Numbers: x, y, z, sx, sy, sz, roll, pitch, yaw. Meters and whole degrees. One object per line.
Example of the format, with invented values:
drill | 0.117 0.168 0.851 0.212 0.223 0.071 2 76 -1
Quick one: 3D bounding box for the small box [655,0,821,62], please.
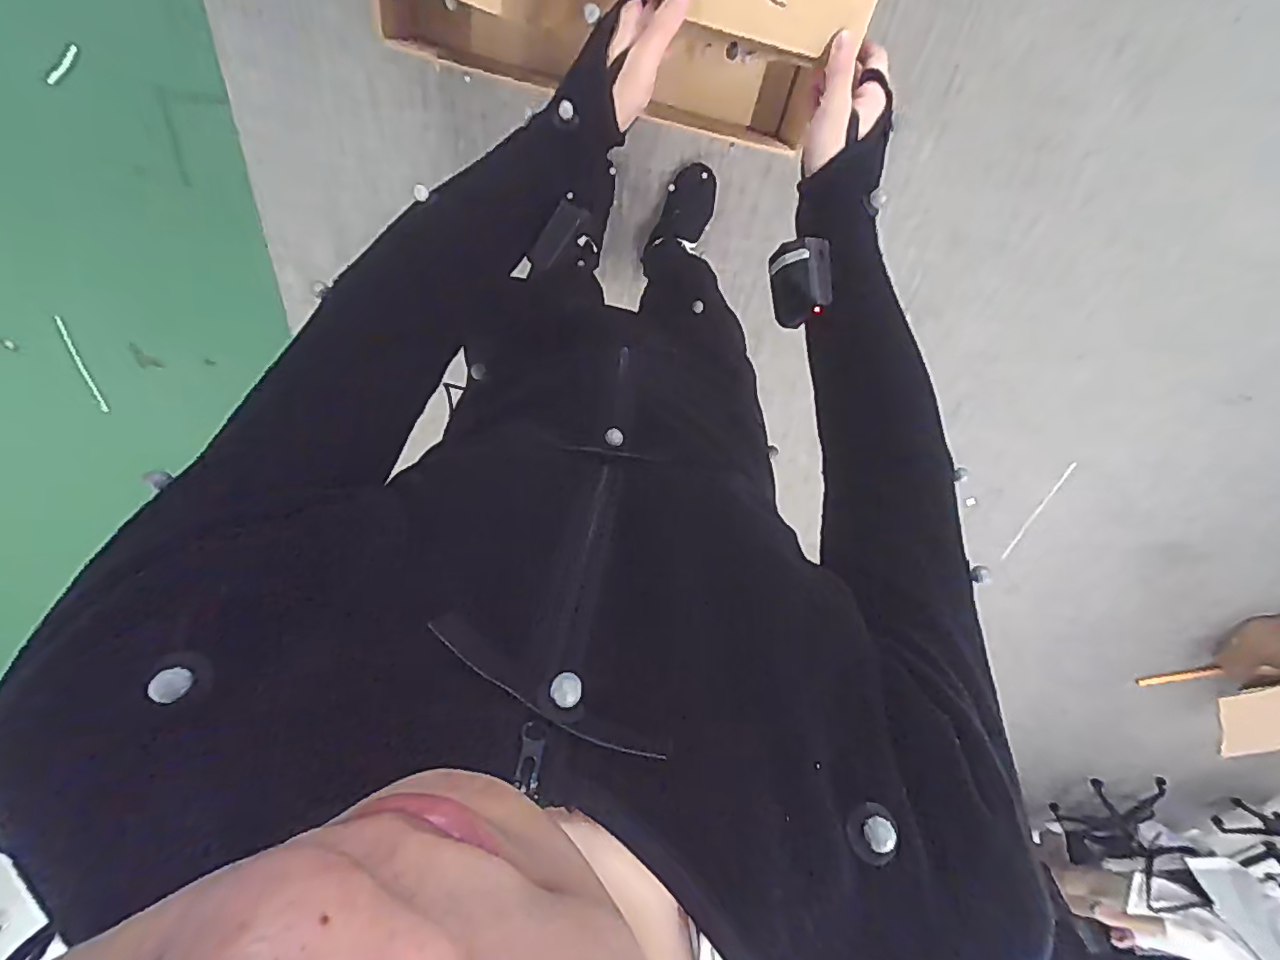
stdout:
small box | 0.115 -0.580 0.582 0.168 0.176 0.179 10 127 -8
